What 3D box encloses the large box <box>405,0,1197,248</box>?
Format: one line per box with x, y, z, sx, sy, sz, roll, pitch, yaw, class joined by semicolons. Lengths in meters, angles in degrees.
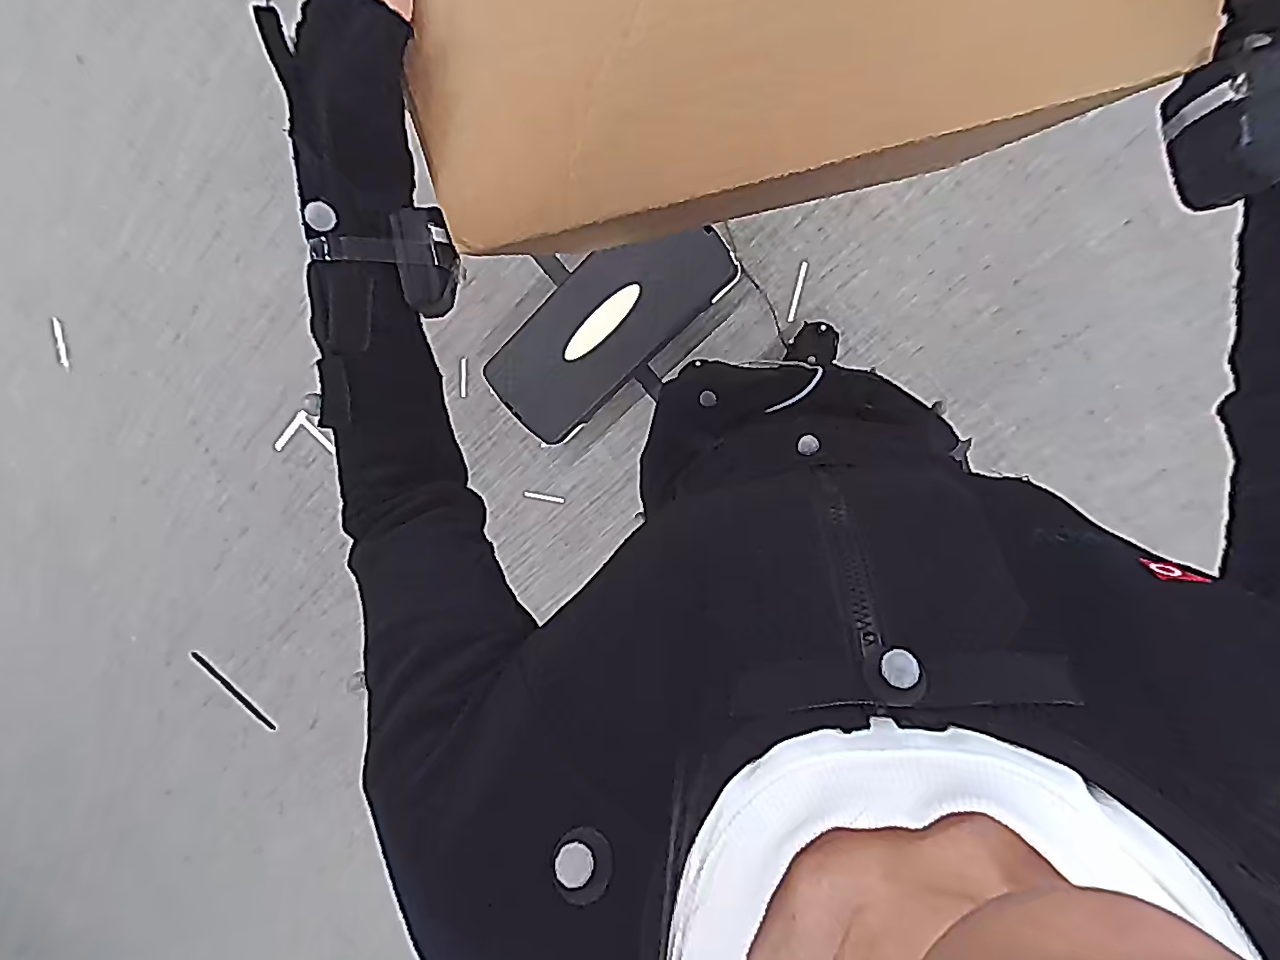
0.071;-0.381;0.397;0.408;0.320;0.320;-9;112;12;large box
